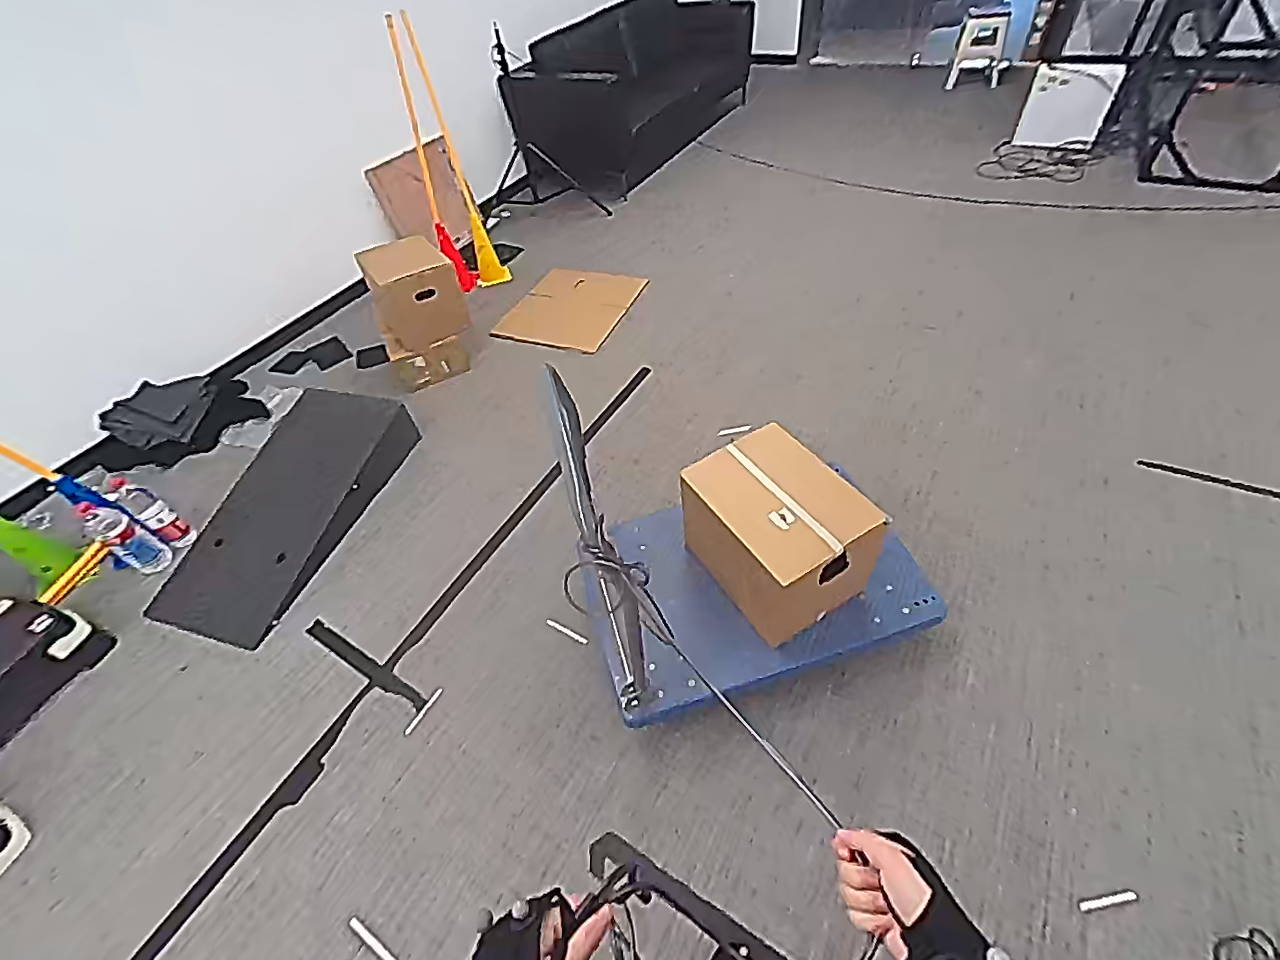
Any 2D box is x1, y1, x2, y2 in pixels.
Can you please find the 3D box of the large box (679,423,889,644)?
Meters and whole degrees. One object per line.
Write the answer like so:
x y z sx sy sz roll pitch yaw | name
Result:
0.339 0.131 1.393 0.320 0.320 0.408 -28 52 -15 | large box
